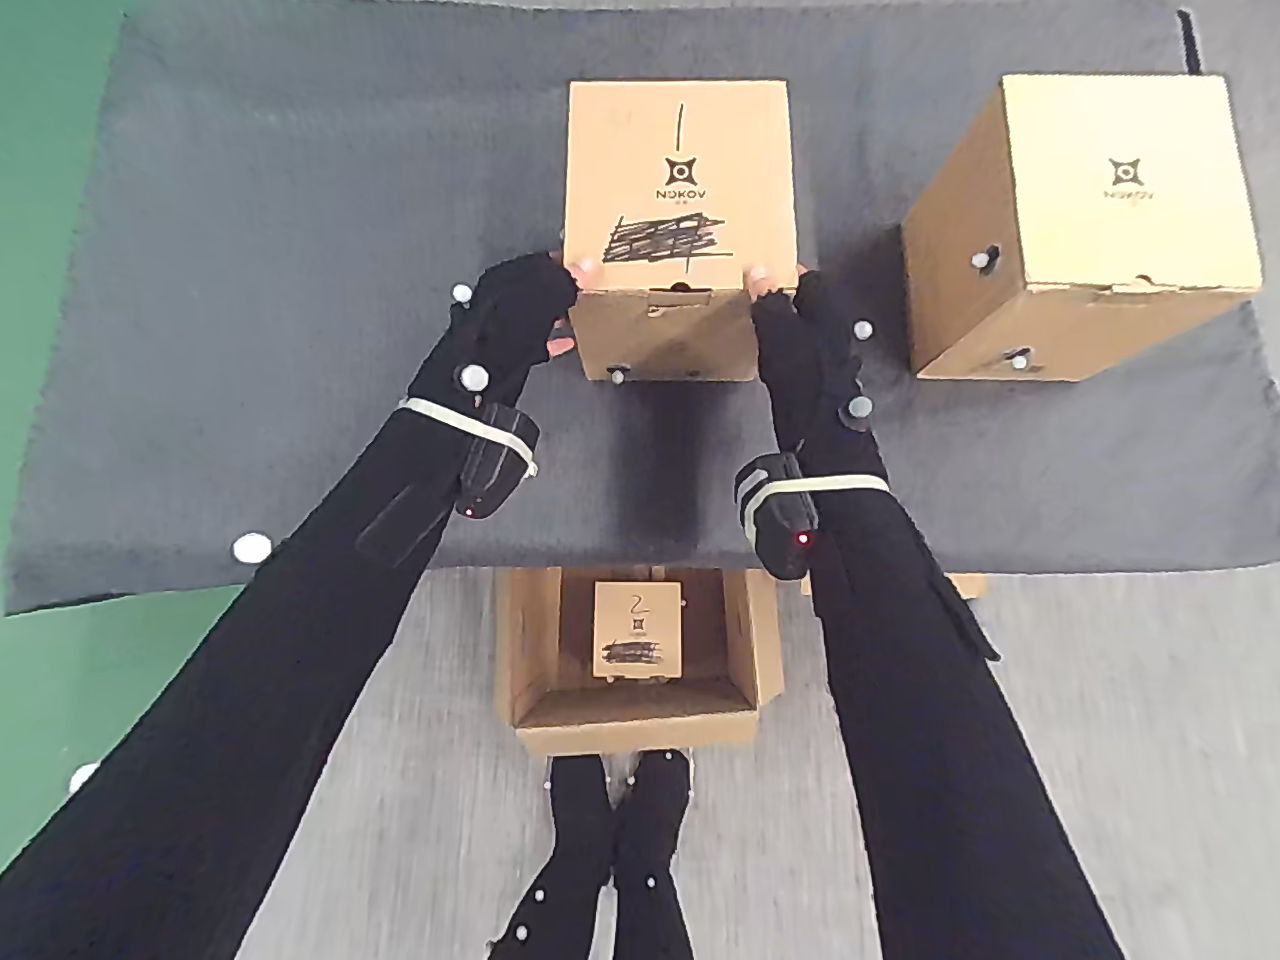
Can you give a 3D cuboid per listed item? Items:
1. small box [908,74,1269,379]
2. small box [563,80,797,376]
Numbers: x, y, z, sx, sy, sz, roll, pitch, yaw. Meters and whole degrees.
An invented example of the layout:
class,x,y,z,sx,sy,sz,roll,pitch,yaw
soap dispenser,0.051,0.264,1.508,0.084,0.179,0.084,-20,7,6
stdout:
class,x,y,z,sx,sy,sz,roll,pitch,yaw
small box,0.351,-0.201,0.466,0.168,0.176,0.179,1,79,1
small box,0.031,-0.199,0.468,0.168,0.176,0.179,0,78,0
